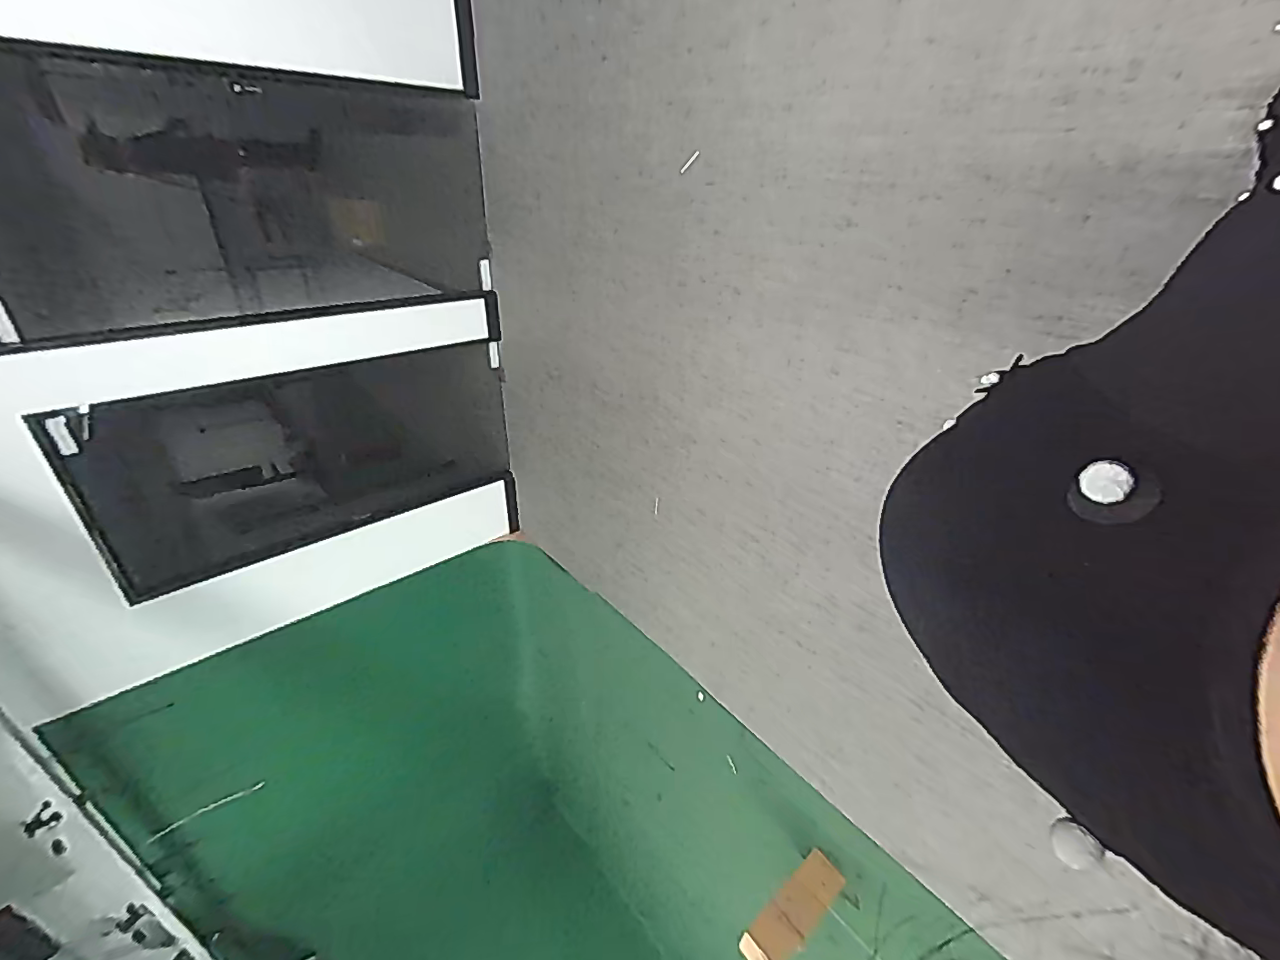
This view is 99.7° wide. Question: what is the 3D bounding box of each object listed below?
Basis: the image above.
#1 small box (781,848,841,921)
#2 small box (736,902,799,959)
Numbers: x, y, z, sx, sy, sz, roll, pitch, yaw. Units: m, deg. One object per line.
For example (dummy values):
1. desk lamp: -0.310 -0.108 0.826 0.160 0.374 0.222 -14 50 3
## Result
1. small box: 0.758 1.778 2.384 0.168 0.176 0.179 39 135 34
2. small box: 0.516 1.870 2.182 0.168 0.176 0.179 36 134 38
